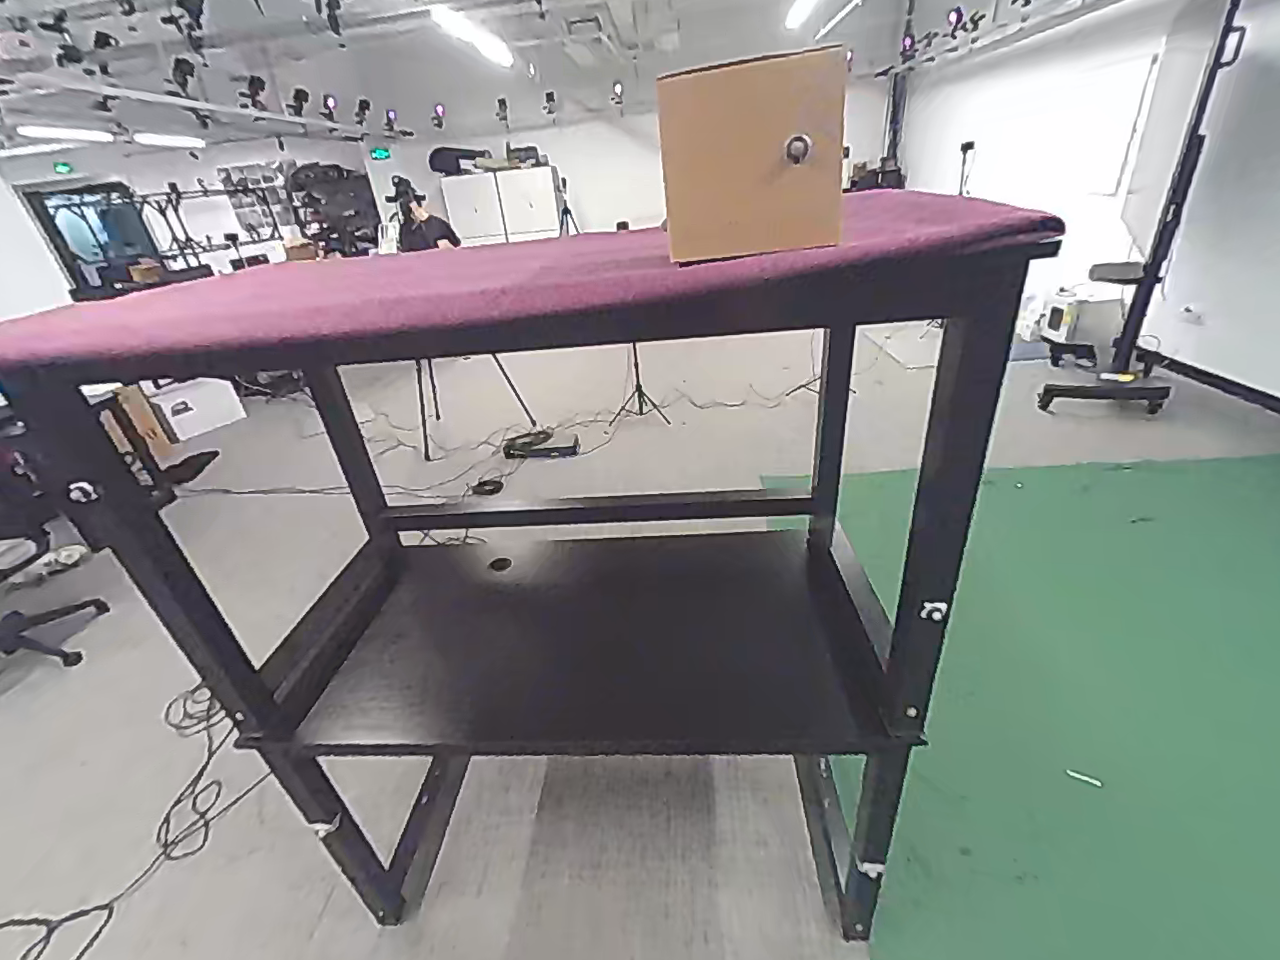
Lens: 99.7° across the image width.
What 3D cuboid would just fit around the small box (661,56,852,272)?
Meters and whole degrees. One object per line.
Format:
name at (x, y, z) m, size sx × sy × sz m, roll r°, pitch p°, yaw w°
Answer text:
small box at (0.126, -0.337, 0.601) m, size 0.179 × 0.176 × 0.168 m, roll -2°, pitch 25°, yaw 11°
